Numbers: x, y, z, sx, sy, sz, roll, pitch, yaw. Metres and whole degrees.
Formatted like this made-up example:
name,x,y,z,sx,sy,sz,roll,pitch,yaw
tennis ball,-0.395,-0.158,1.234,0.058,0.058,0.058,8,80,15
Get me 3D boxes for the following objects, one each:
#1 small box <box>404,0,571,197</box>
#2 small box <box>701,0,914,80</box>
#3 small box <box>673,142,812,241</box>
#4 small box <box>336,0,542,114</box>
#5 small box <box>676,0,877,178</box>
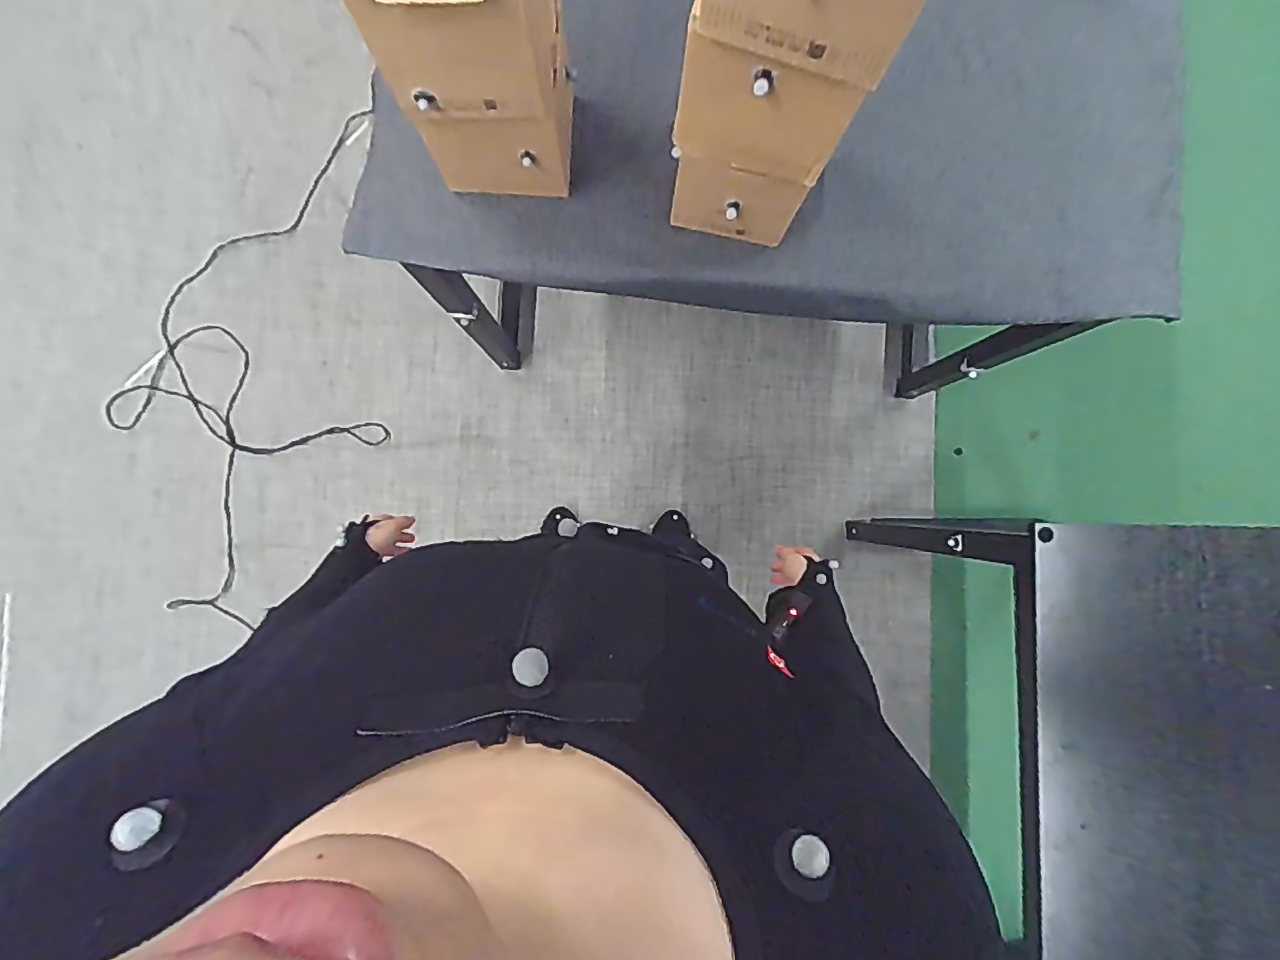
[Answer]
name,x,y,z,sx,sy,sz,roll,pitch,yaw
small box,-0.188,-0.502,0.719,0.179,0.176,0.168,1,85,0
small box,0.147,-0.446,0.391,0.168,0.176,0.179,19,86,1
small box,0.140,-0.448,0.720,0.168,0.176,0.179,12,87,0
small box,-0.196,-0.511,0.555,0.168,0.176,0.179,-3,85,-2
small box,0.145,-0.449,0.557,0.179,0.176,0.168,17,86,1
